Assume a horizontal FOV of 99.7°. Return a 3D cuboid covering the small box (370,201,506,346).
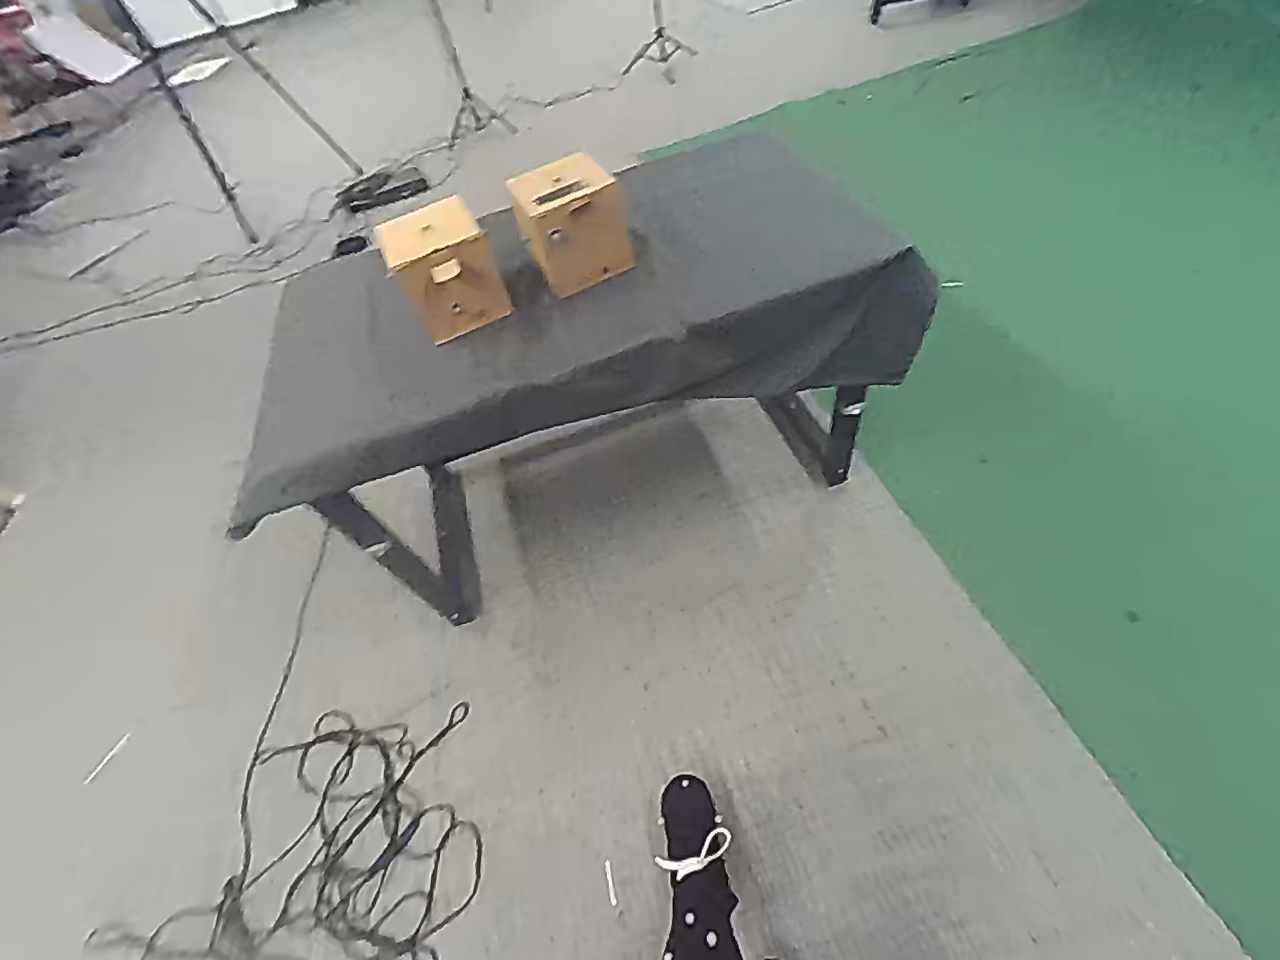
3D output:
[{"bbox_3d":[-0.376,-0.386,1.018,0.168,0.176,0.179,-27,54,-9],"label":"small box"}]
